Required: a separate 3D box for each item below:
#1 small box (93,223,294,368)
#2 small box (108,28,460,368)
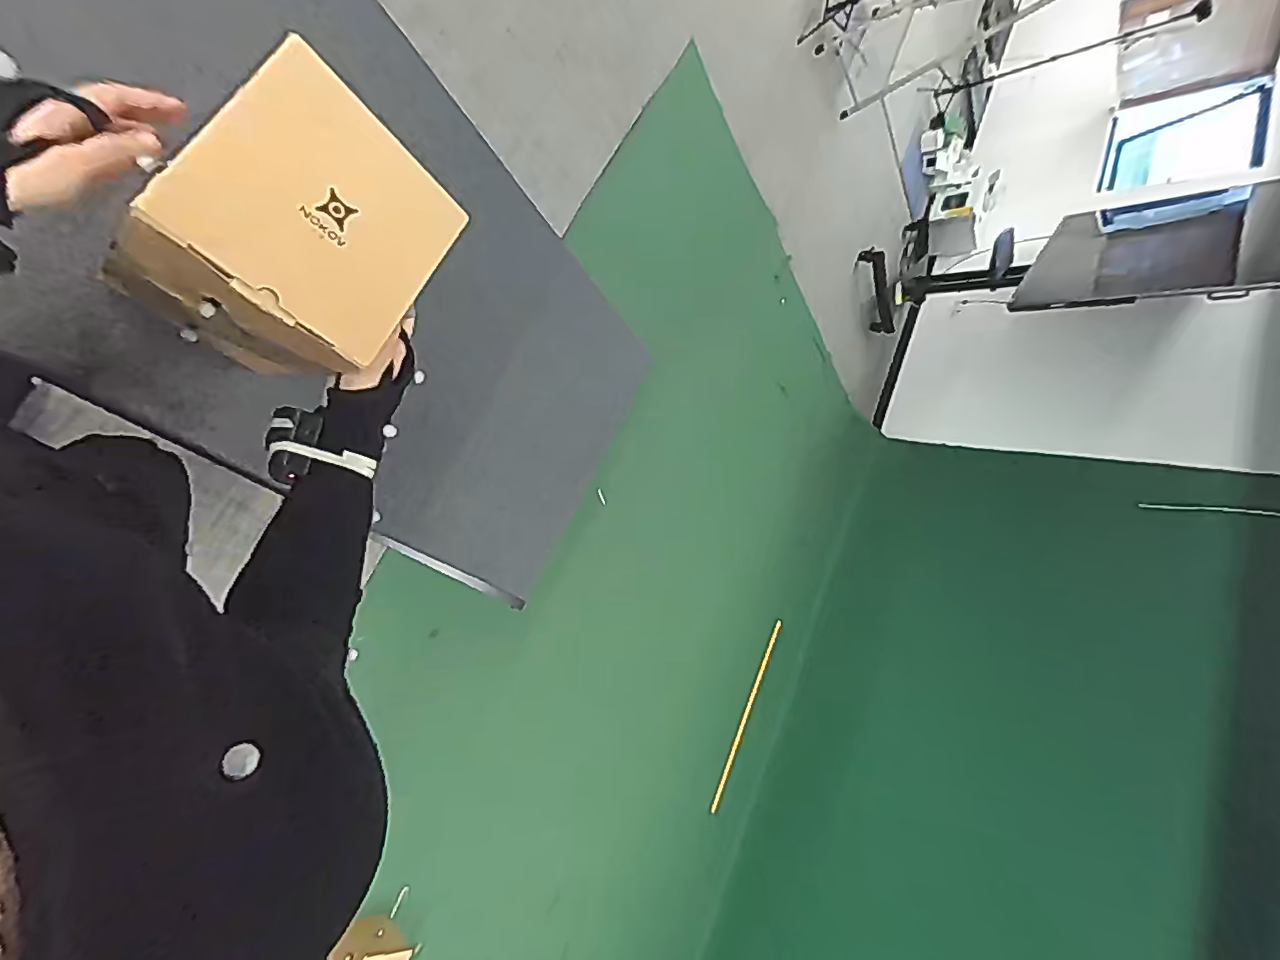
[{"bbox_3d":[-0.417,-0.236,0.563,0.168,0.176,0.179,41,67,-44],"label":"small box"},{"bbox_3d":[-0.297,-0.214,0.457,0.168,0.176,0.179,42,67,-44],"label":"small box"}]
